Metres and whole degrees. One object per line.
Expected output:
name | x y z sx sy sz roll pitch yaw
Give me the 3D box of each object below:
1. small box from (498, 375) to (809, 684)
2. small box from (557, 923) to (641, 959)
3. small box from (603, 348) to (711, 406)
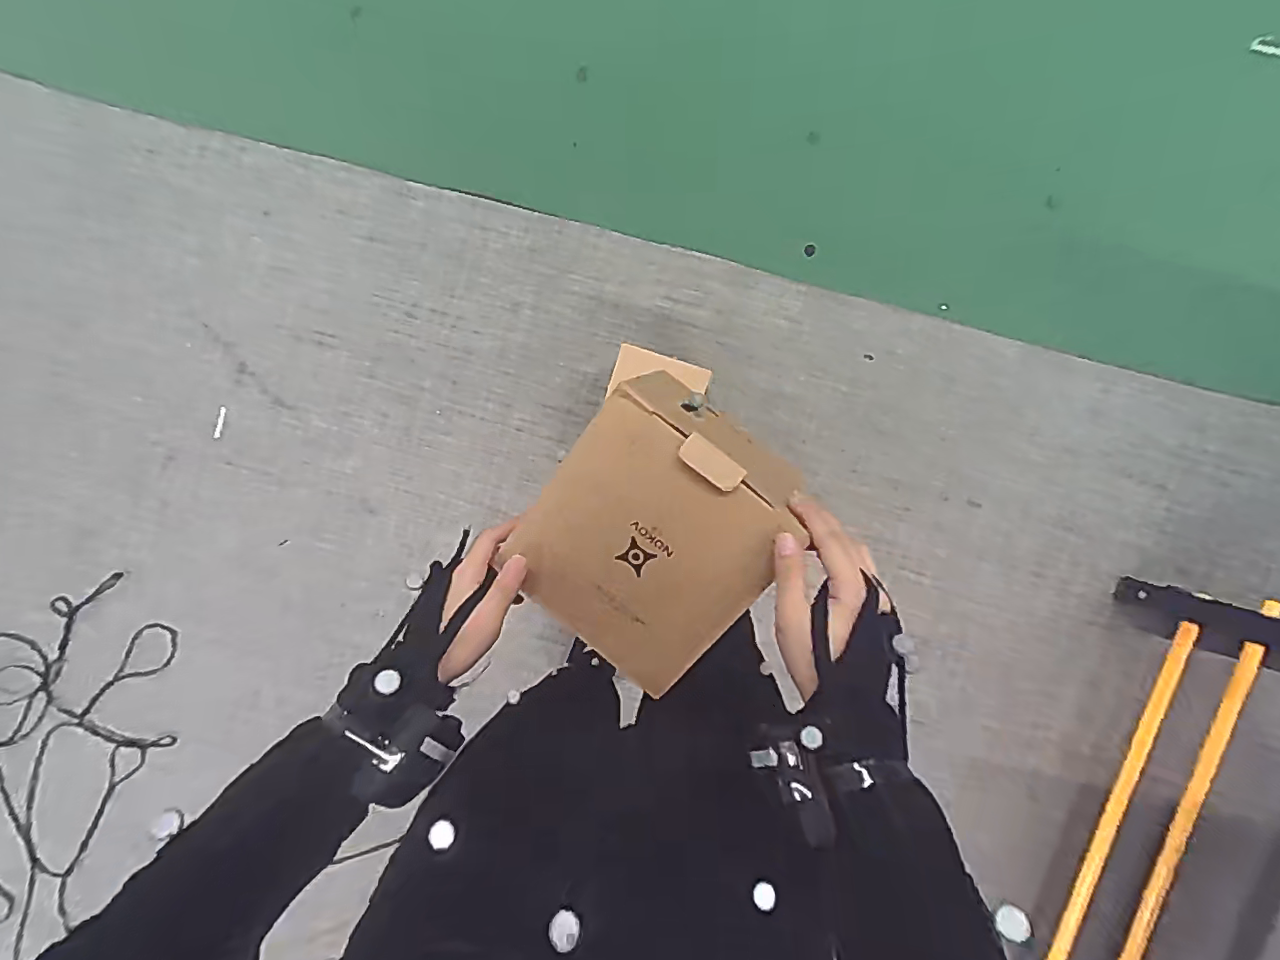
small box | 0.018 0.025 0.466 0.168 0.176 0.179 39 110 2
small box | -0.097 1.081 1.131 0.179 0.176 0.168 11 93 2
small box | 0.028 -0.143 1.070 0.179 0.176 0.168 18 93 3
